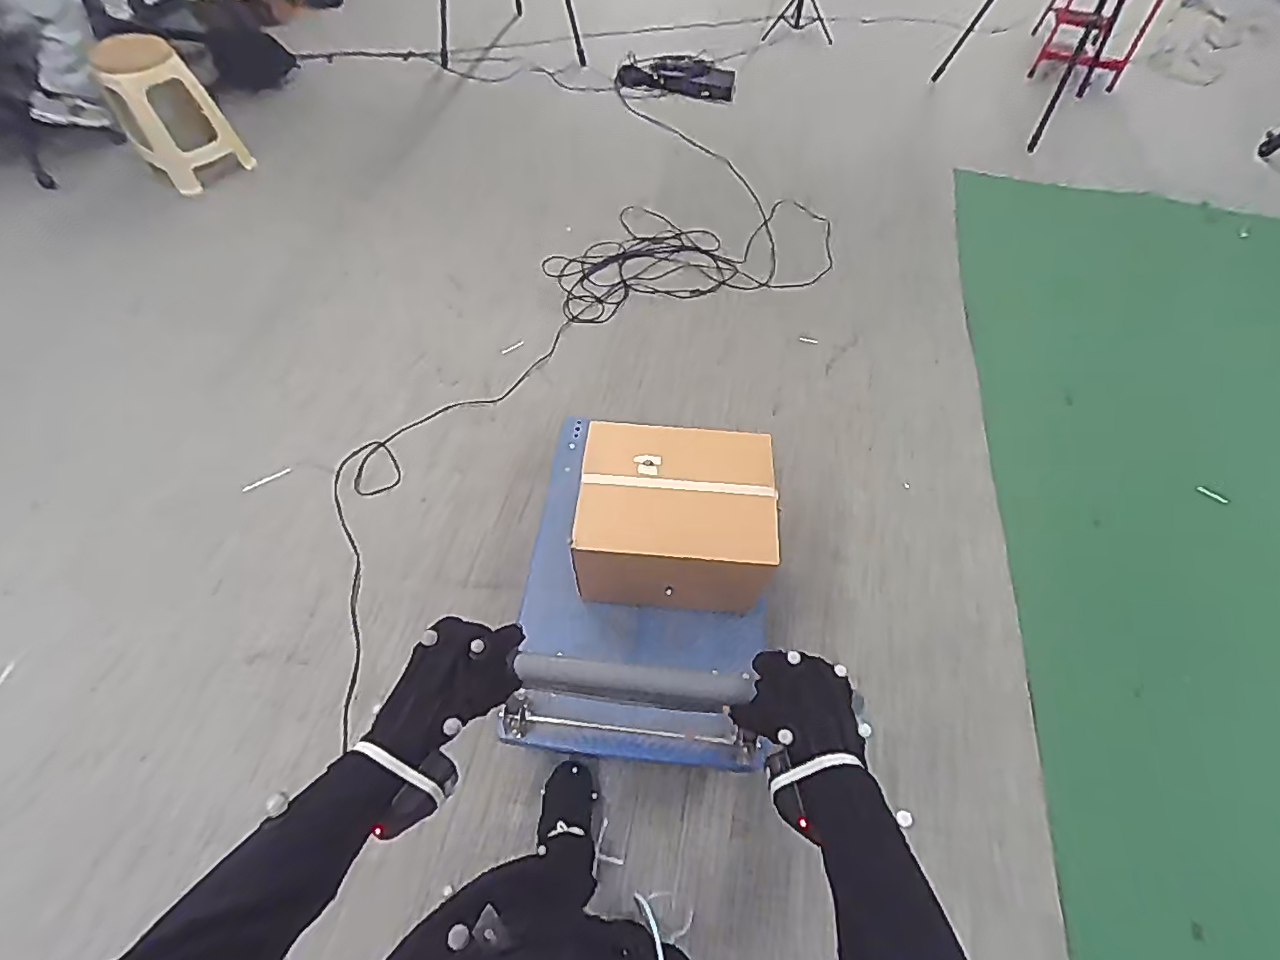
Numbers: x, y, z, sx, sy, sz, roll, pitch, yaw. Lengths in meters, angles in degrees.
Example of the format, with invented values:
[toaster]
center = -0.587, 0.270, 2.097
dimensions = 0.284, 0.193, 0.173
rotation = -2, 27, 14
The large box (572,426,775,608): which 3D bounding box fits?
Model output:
[large box]
center = 0.076, 0.096, 1.257
dimensions = 0.408, 0.320, 0.320
rotation = 4, 58, 2
